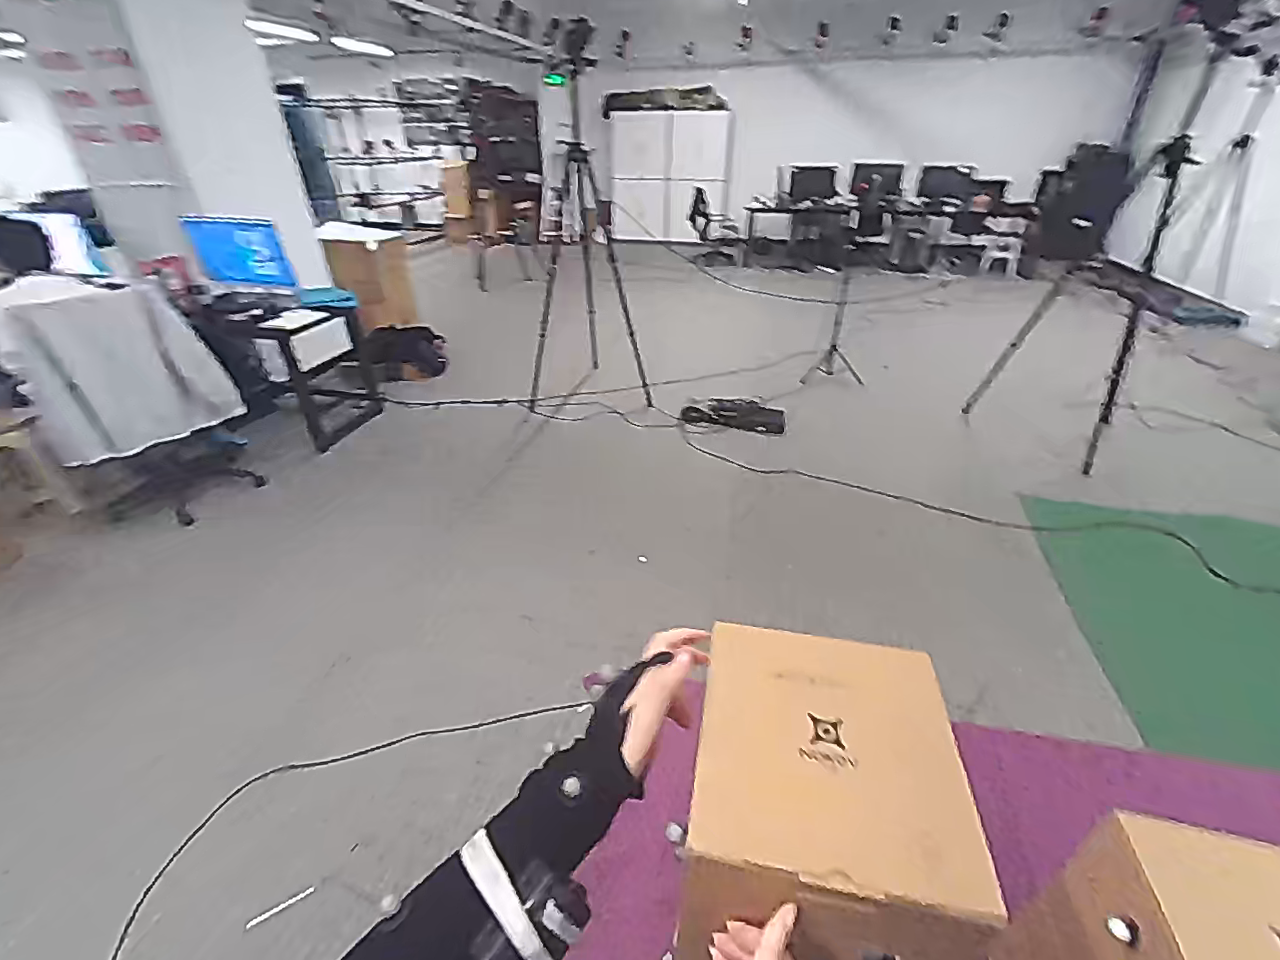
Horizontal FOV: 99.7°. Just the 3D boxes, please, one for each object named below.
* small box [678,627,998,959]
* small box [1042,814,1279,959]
[{"bbox_3d":[0.121,0.242,0.398,0.168,0.176,0.179,7,33,9],"label":"small box"},{"bbox_3d":[0.462,0.417,0.430,0.168,0.176,0.179,9,34,14],"label":"small box"}]
